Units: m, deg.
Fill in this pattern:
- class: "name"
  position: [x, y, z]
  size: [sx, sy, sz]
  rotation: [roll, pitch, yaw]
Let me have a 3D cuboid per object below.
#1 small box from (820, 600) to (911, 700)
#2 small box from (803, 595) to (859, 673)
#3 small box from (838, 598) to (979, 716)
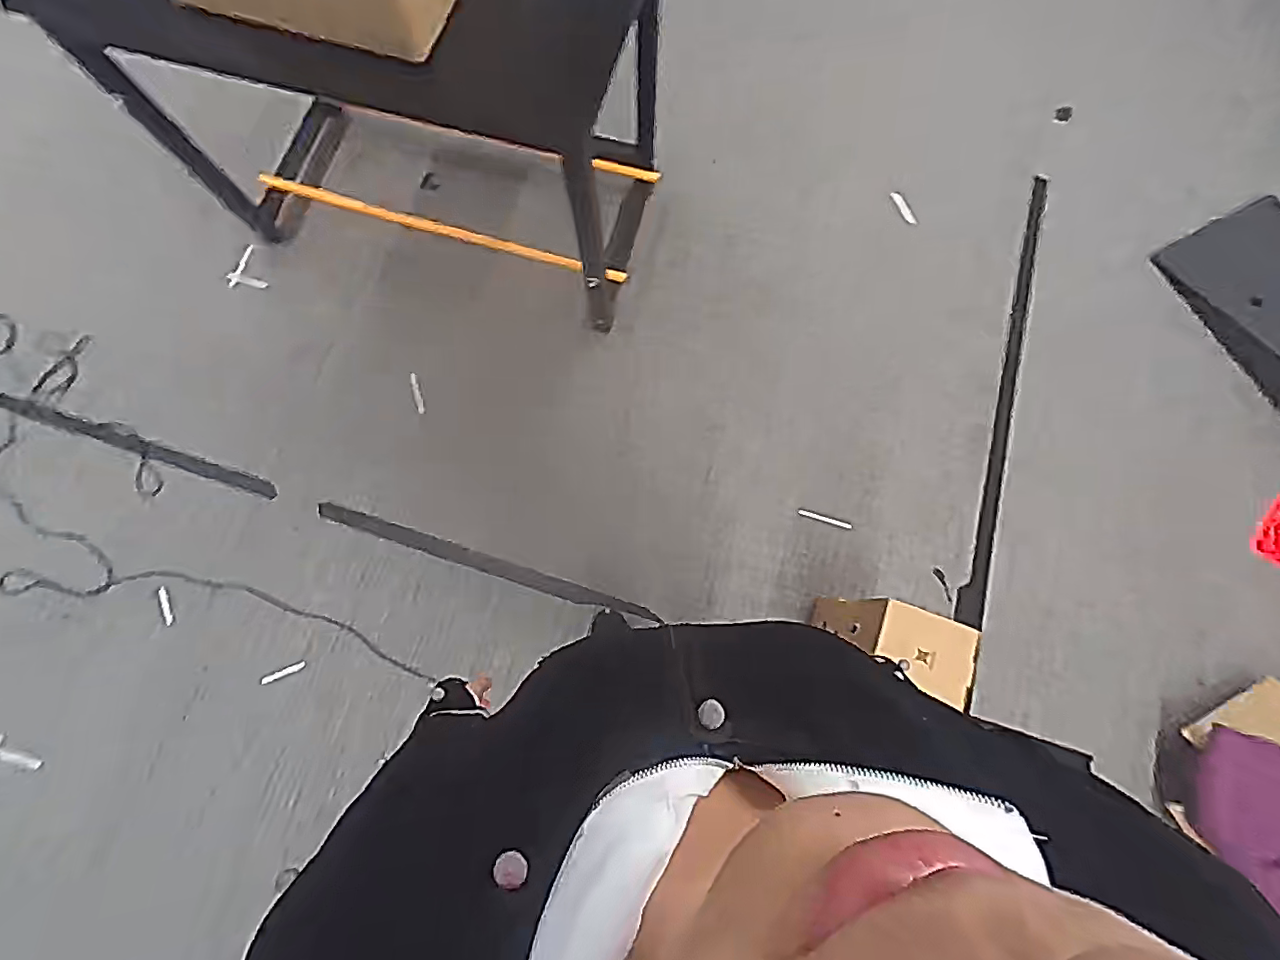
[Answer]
- class: "small box"
  position: [0.540, 0.380, 1.234]
  size: [0.179, 0.176, 0.168]
  rotation: [20, 78, 5]
- class: "small box"
  position: [0.539, 0.408, 1.396]
  size: [0.168, 0.176, 0.179]
  rotation: [20, 79, 5]
- class: "small box"
  position: [0.525, 0.341, 1.076]
  size: [0.179, 0.176, 0.168]
  rotation: [20, 77, 6]
